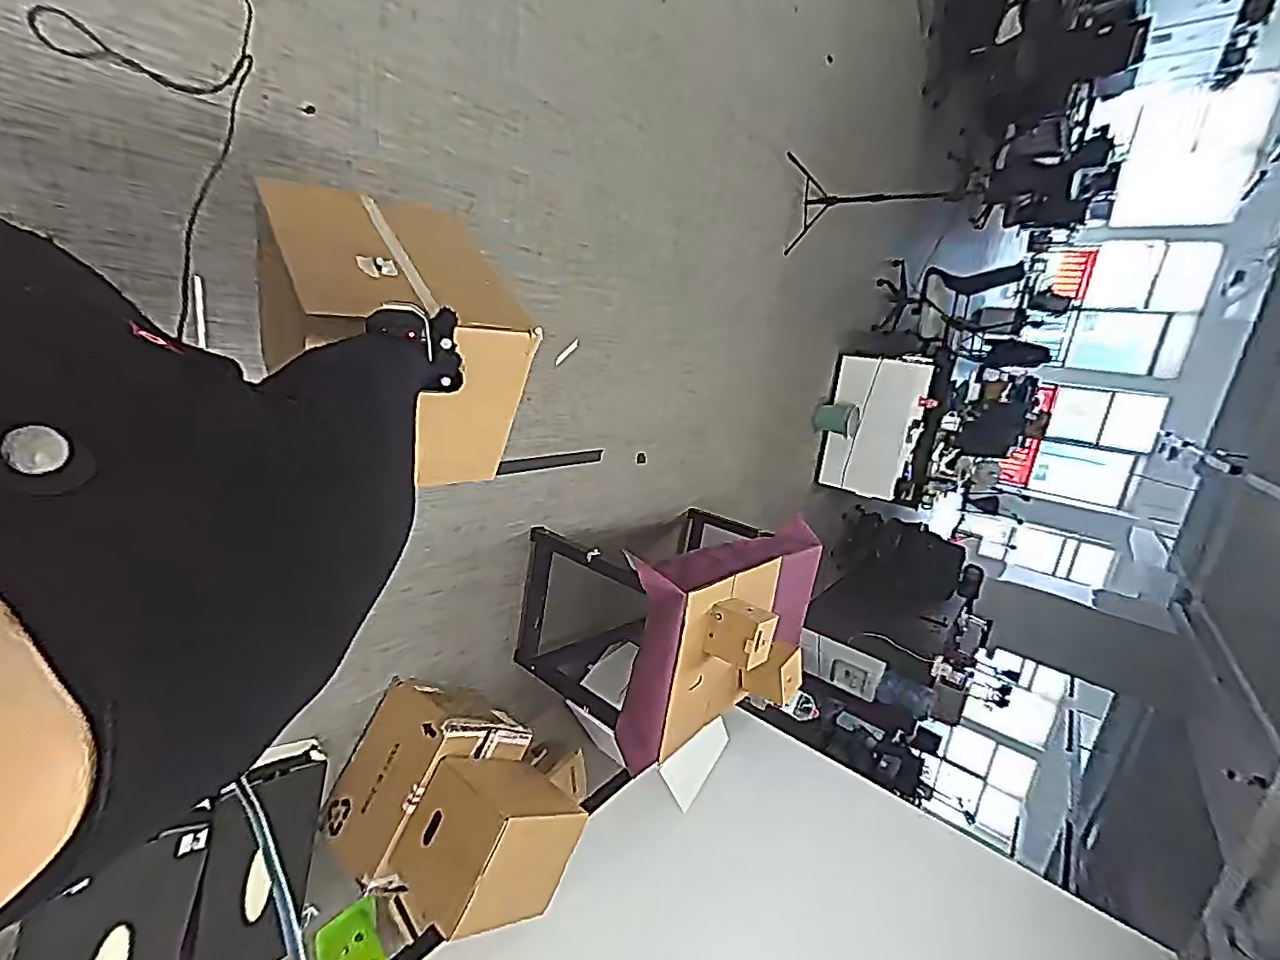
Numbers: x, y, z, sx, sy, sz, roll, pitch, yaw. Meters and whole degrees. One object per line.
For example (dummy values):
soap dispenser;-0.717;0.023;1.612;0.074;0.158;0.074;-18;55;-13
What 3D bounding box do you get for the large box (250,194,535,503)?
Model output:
large box;-0.442;-0.222;0.930;0.320;0.408;0.320;-10;141;-39
